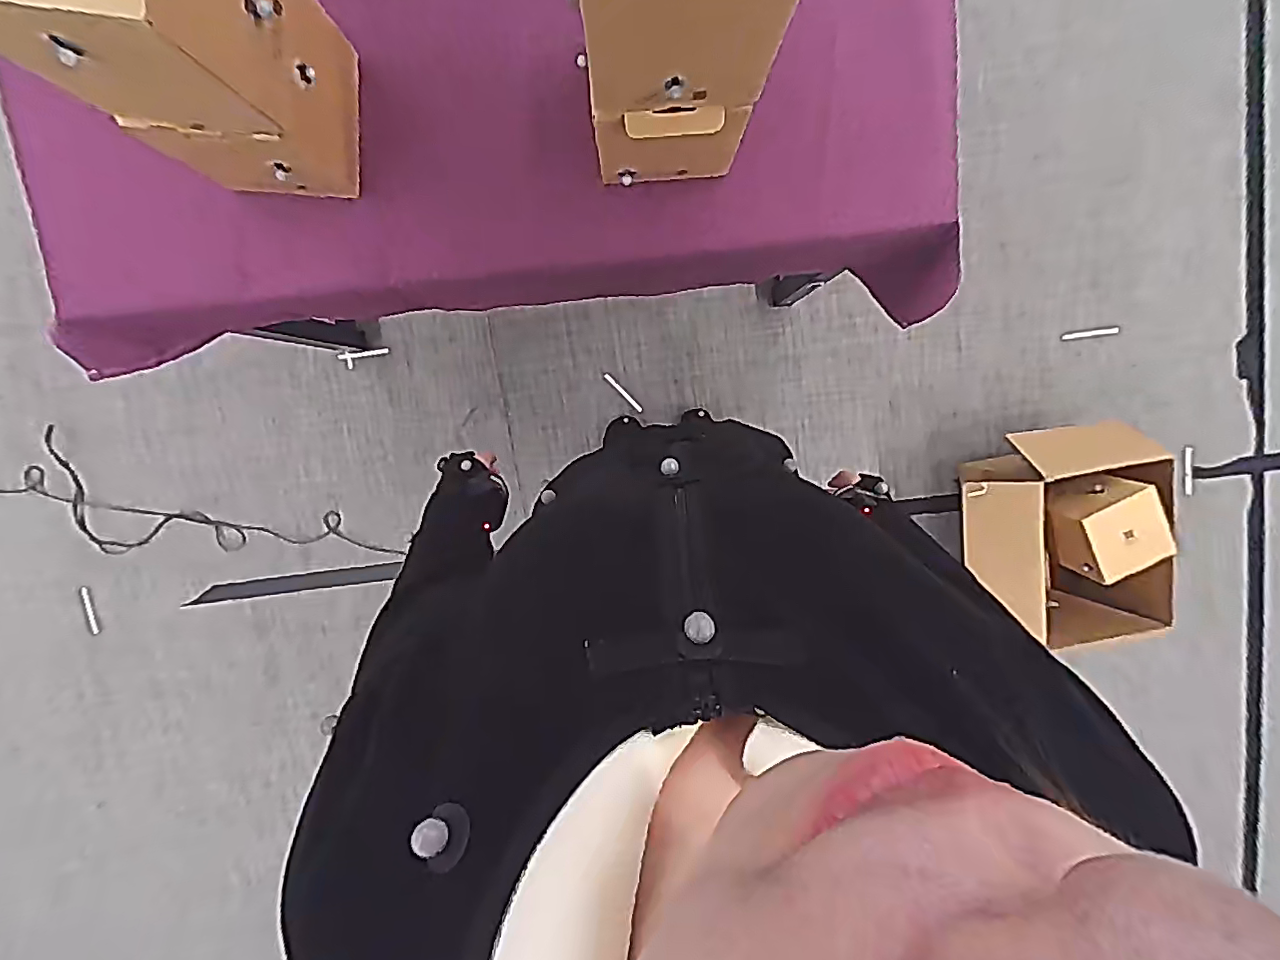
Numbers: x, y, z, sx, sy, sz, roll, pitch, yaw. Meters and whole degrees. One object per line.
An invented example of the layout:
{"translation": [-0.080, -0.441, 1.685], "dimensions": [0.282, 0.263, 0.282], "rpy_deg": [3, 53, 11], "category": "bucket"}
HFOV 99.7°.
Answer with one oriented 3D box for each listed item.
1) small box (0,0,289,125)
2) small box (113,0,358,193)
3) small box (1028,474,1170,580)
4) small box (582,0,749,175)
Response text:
{"translation": [-0.430, -0.426, 0.448], "dimensions": [0.179, 0.176, 0.168], "rpy_deg": [5, 99, -3], "category": "small box"}
{"translation": [-0.439, -0.448, 0.610], "dimensions": [0.168, 0.176, 0.179], "rpy_deg": [4, 98, -2], "category": "small box"}
{"translation": [1.059, 0.099, 1.264], "dimensions": [0.168, 0.176, 0.179], "rpy_deg": [-29, 102, 5], "category": "small box"}
{"translation": [0.025, -0.468, 0.613], "dimensions": [0.168, 0.176, 0.179], "rpy_deg": [-4, 97, 0], "category": "small box"}
